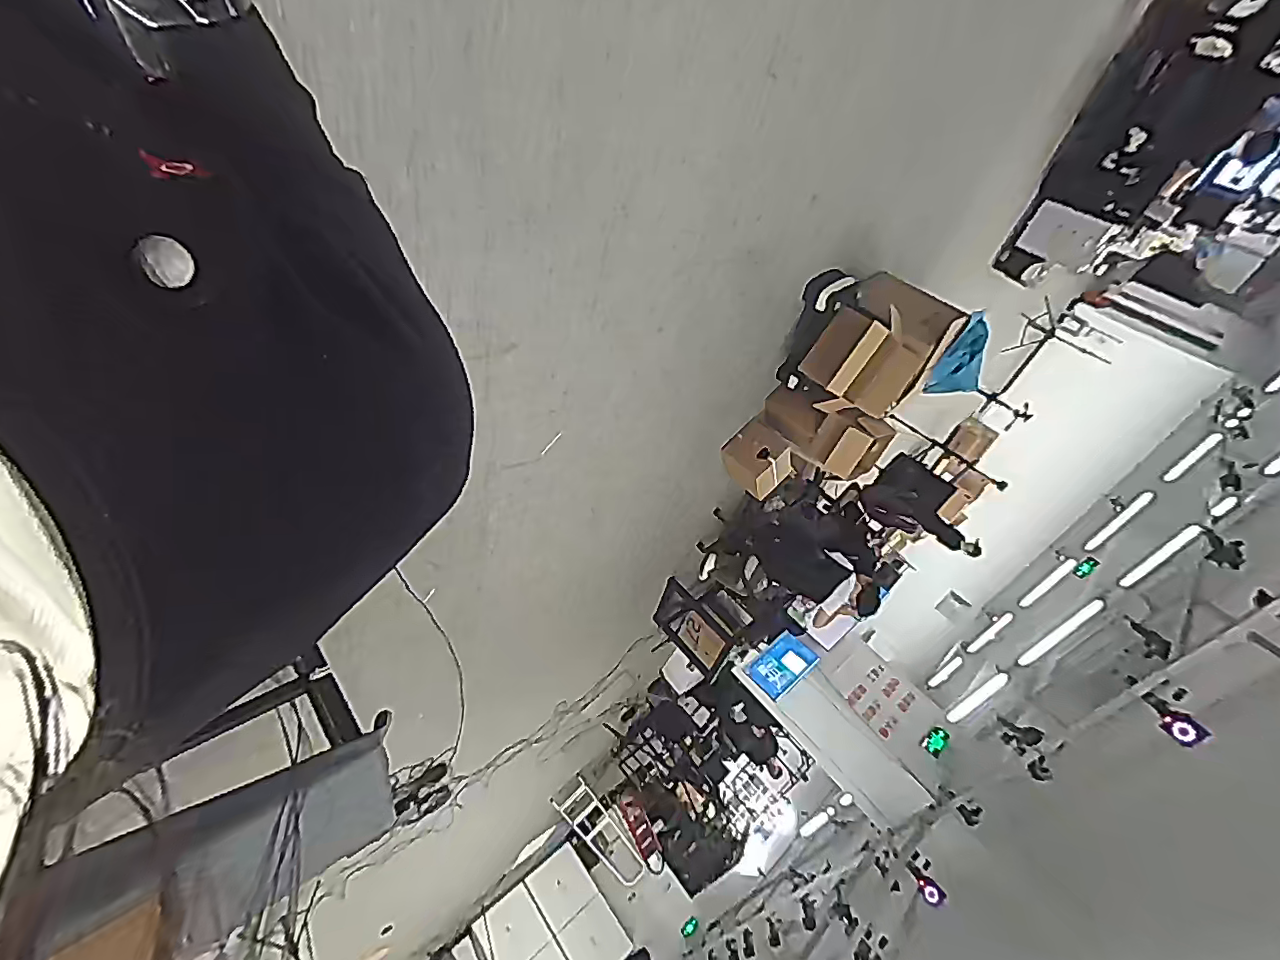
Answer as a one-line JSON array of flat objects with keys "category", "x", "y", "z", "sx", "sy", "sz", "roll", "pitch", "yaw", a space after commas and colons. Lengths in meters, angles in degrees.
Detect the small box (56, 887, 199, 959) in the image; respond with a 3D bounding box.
[{"category": "small box", "x": -1.081, "y": 1.018, "z": 1.148, "sx": 0.179, "sy": 0.176, "sz": 0.168, "roll": -22, "pitch": 143, "yaw": -39}]
